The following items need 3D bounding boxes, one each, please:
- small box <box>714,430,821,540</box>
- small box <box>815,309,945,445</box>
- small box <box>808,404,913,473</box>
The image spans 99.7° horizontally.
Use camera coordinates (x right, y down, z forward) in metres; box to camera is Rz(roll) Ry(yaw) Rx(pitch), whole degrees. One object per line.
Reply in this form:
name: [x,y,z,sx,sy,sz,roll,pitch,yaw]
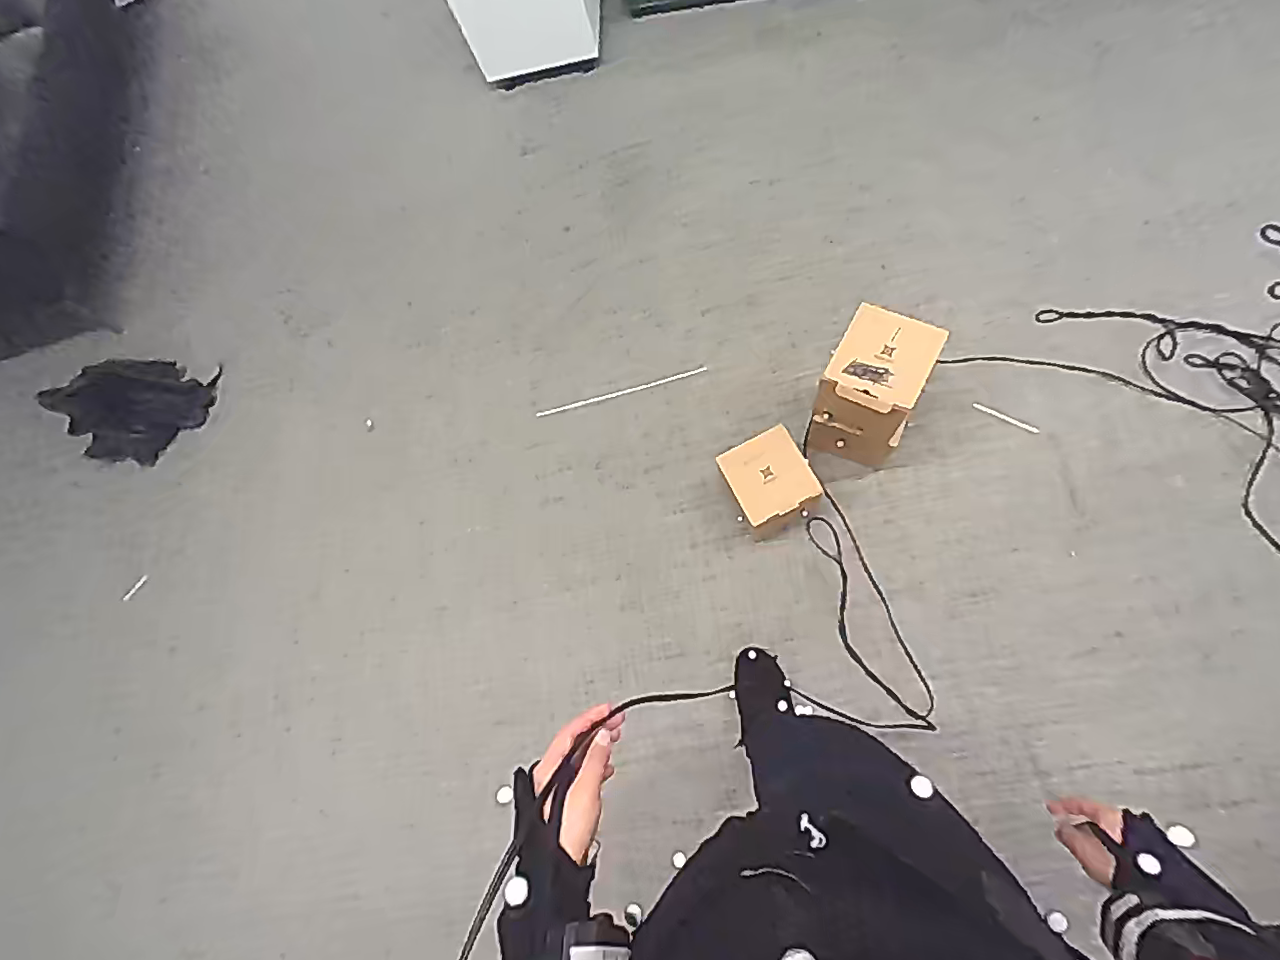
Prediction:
small box: [0.283,0.022,1.211,0.168,0.176,0.179,-27,69,2]
small box: [0.458,-0.193,1.059,0.168,0.176,0.179,27,80,18]
small box: [0.490,-0.133,1.210,0.179,0.176,0.168,22,78,18]
